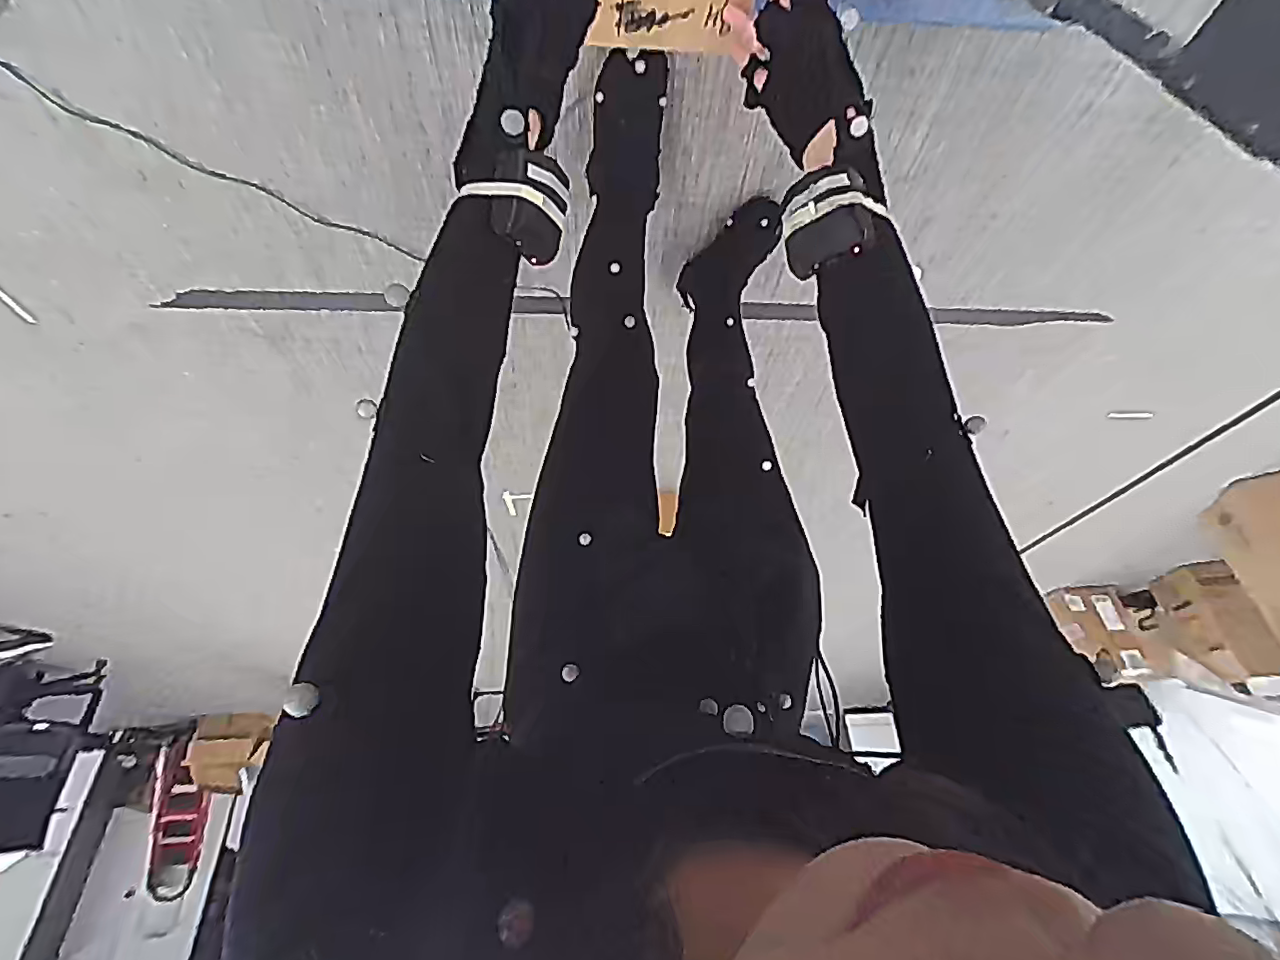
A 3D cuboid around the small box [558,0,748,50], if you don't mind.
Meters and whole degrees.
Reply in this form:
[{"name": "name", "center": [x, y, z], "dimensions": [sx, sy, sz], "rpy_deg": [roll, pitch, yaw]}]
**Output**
[{"name": "small box", "center": [0.009, -0.507, 0.461], "dimensions": [0.168, 0.176, 0.179], "rpy_deg": [-2, 145, -6]}]
